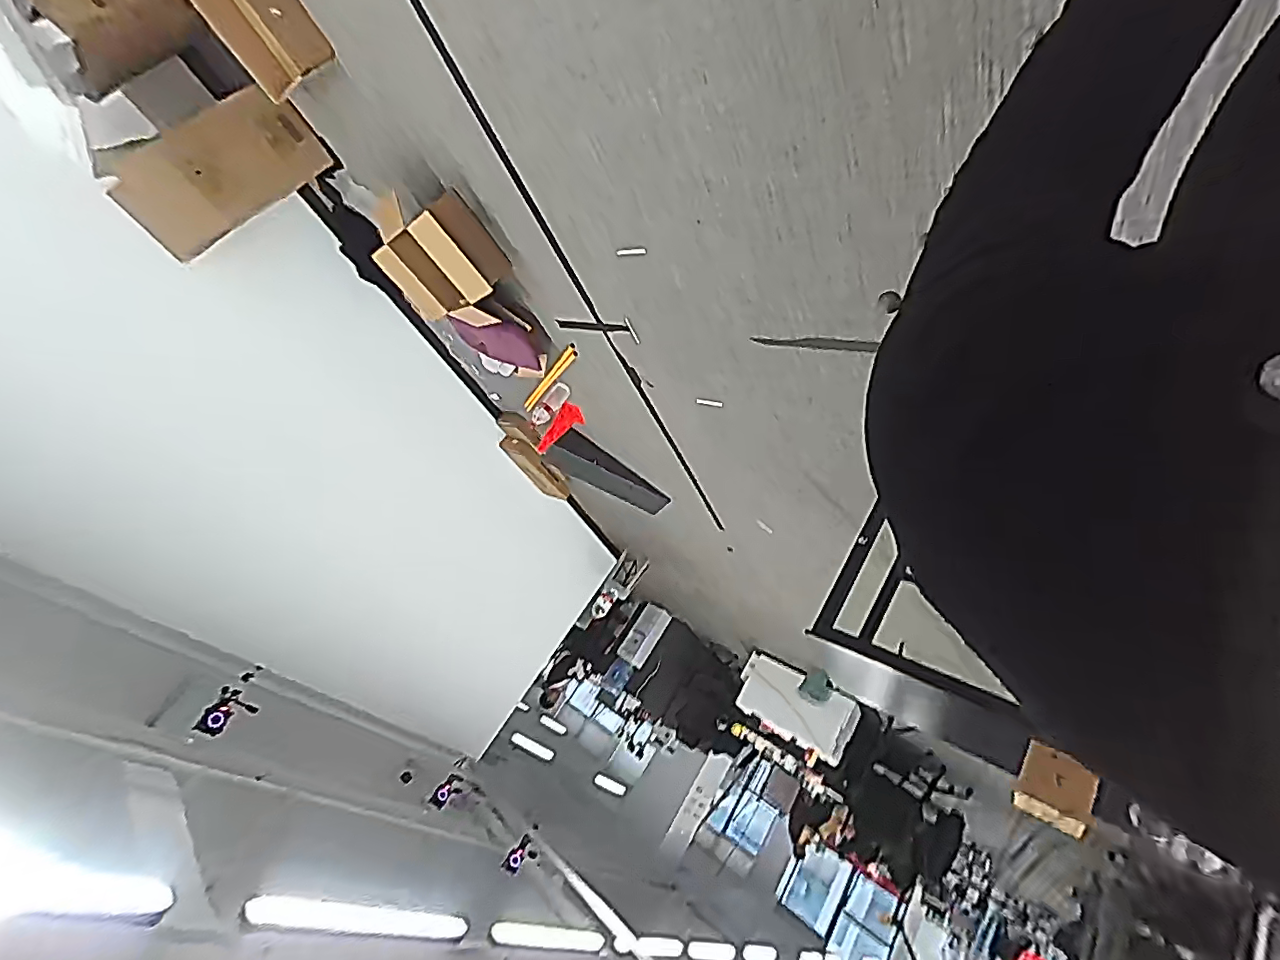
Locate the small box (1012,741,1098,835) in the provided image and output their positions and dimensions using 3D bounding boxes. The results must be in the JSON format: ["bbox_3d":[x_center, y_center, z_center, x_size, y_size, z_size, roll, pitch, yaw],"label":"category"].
[{"bbox_3d":[1.228,0.907,1.603,0.168,0.176,0.179,17,153,42],"label":"small box"}]
